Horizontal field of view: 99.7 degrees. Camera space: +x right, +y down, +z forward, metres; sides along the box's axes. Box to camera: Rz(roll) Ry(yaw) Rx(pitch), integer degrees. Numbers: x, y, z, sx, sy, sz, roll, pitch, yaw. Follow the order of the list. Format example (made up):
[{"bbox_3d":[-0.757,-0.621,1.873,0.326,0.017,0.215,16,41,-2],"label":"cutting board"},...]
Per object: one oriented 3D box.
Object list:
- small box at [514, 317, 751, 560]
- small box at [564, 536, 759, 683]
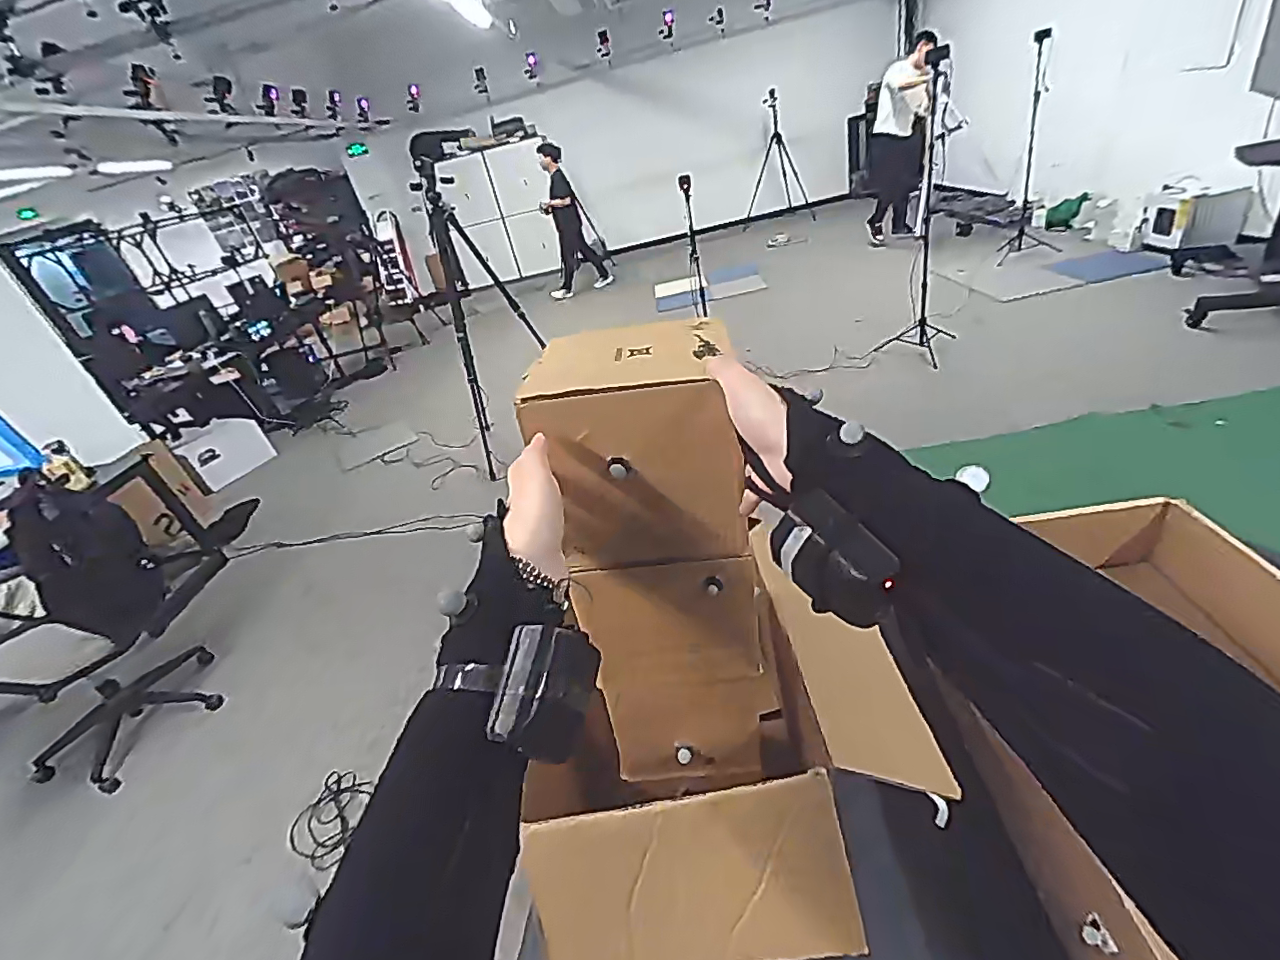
[{"bbox_3d":[0.004,-0.039,0.510,0.179,0.176,0.168,-6,31,7],"label":"small box"},{"bbox_3d":[0.029,0.102,0.593,0.179,0.176,0.168,-6,31,5],"label":"small box"}]
